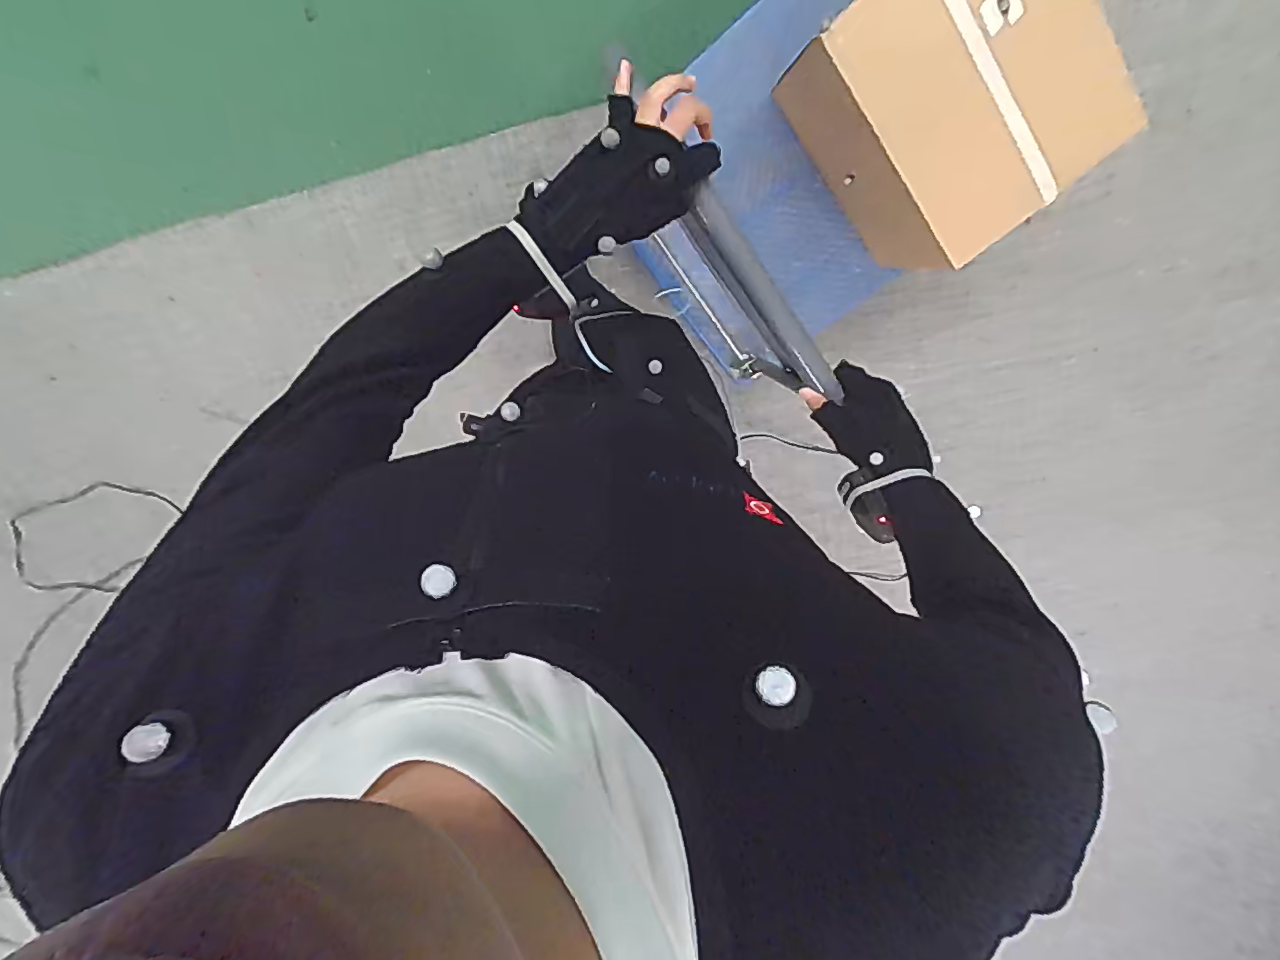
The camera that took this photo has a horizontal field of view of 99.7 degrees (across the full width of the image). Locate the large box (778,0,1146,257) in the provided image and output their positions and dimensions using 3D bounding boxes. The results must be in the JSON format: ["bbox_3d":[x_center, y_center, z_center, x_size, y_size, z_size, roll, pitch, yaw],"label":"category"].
[{"bbox_3d":[0.497,-0.641,0.906,0.320,0.320,0.408,-38,107,15],"label":"large box"}]
